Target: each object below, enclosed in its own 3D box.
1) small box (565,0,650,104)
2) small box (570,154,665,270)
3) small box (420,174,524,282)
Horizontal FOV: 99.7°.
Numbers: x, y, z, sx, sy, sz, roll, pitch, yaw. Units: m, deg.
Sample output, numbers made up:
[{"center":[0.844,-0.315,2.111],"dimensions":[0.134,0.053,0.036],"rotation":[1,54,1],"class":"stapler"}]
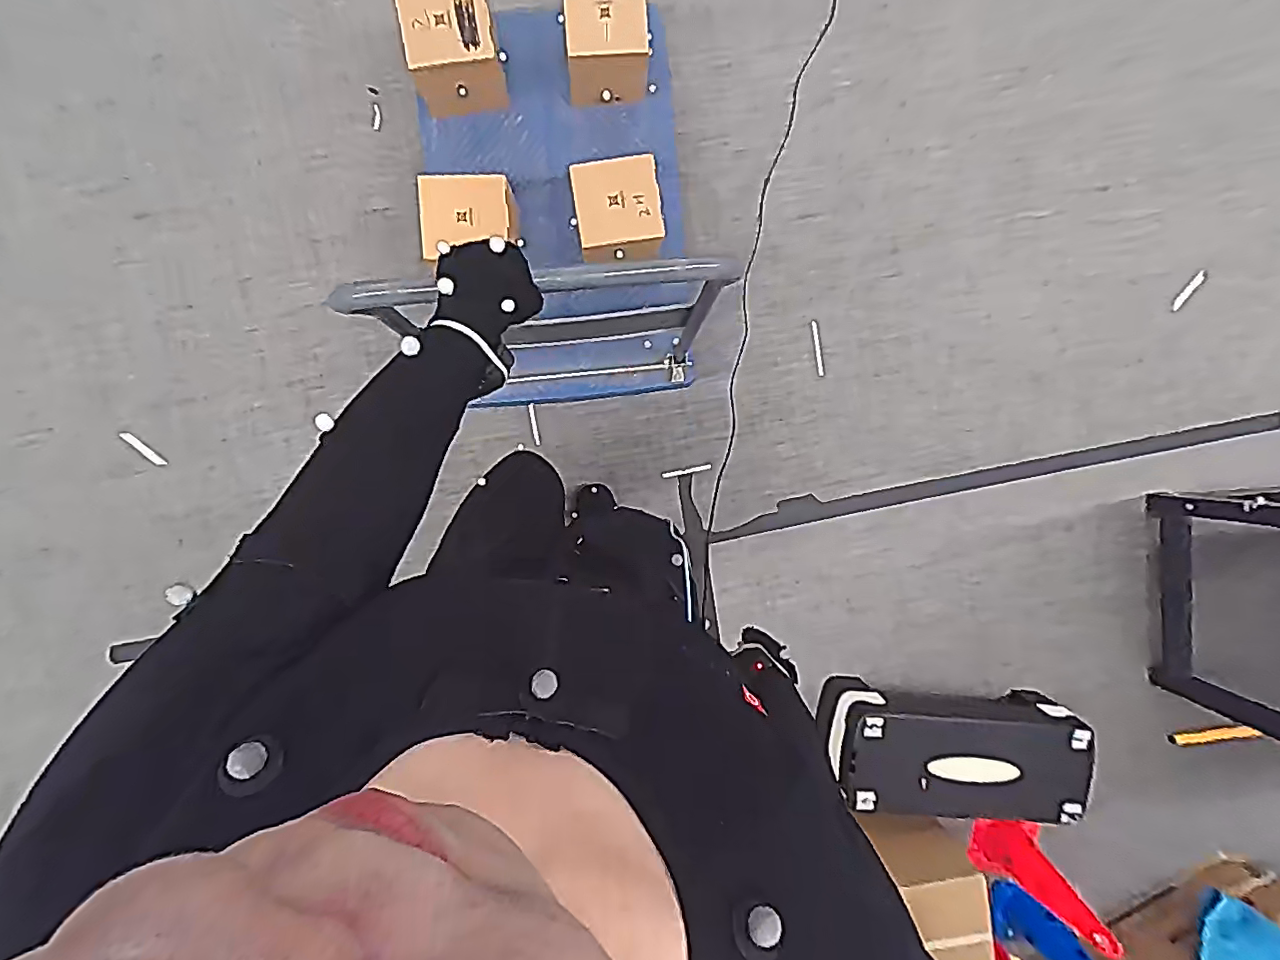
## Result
[{"center":[-0.071,-0.940,1.146],"dimensions":[0.168,0.176,0.179],"rotation":[-4,96,-2],"class":"small box"},{"center":[-0.046,-0.572,1.174],"dimensions":[0.179,0.176,0.168],"rotation":[-9,95,-2],"class":"small box"},{"center":[-0.354,-0.533,1.163],"dimensions":[0.179,0.176,0.168],"rotation":[-3,94,-4],"class":"small box"}]
